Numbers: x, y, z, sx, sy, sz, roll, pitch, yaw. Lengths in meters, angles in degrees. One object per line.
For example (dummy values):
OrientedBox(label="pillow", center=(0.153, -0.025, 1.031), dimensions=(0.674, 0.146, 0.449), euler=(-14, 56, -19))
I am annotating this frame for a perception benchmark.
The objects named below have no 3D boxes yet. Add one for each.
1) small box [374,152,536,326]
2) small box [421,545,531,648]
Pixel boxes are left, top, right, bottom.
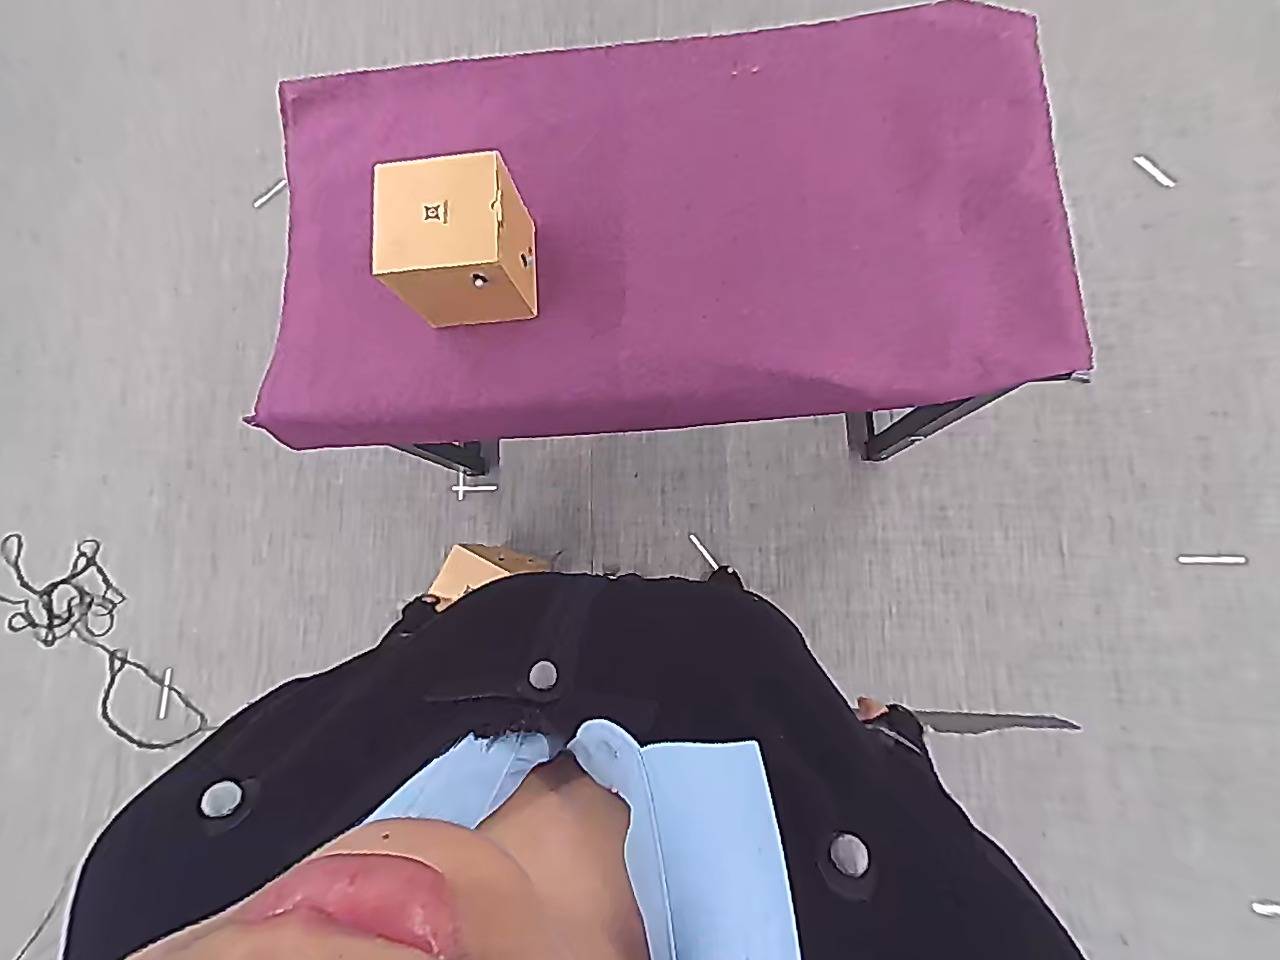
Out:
OrientedBox(label="small box", center=(-0.262, -0.341, 0.797), dimensions=(0.179, 0.176, 0.168), euler=(-4, 81, 4))
OrientedBox(label="small box", center=(-0.377, 0.269, 1.286), dimensions=(0.168, 0.176, 0.179), euler=(27, 86, 8))
